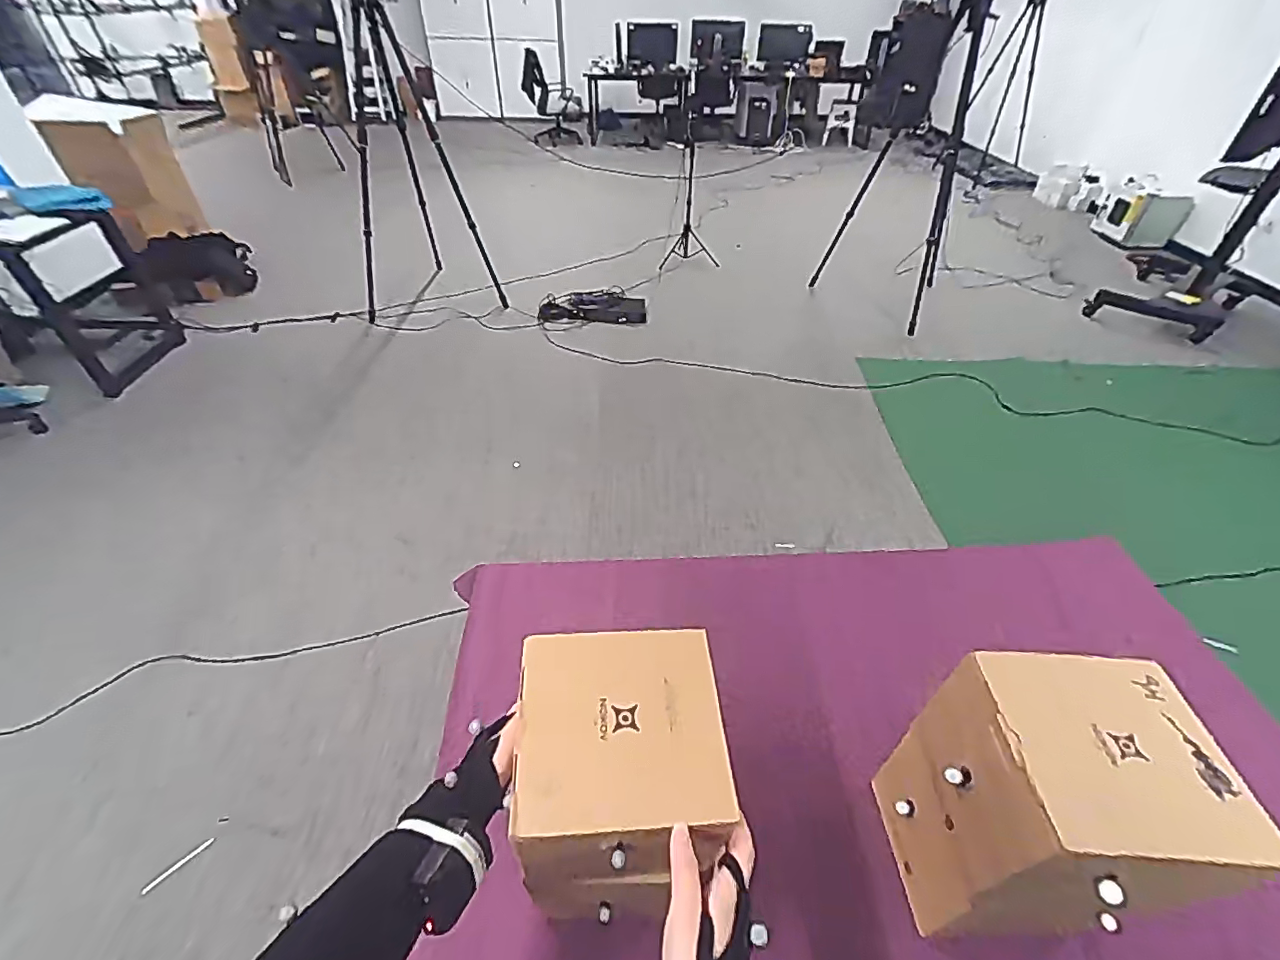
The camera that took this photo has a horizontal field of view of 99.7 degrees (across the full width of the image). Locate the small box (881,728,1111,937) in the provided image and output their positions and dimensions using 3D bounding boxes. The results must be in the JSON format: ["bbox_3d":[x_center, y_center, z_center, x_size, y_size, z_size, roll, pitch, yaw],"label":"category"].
[{"bbox_3d":[0.396,0.398,0.613,0.179,0.176,0.168,0,42,-2],"label":"small box"}]

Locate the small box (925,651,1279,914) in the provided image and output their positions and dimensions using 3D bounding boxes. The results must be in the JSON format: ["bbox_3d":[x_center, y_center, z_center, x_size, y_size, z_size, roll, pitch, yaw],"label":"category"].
[{"bbox_3d":[0.391,0.279,0.500,0.179,0.176,0.168,3,42,2],"label":"small box"}]

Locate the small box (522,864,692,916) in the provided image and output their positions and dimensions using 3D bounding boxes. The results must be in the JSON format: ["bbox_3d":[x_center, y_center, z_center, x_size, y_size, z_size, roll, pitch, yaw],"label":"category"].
[{"bbox_3d":[-0.030,0.381,0.624,0.168,0.176,0.179,1,42,-1],"label":"small box"}]

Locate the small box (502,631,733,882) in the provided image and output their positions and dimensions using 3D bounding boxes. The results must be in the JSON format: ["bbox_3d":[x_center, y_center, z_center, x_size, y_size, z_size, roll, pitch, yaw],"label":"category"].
[{"bbox_3d":[-0.022,0.261,0.511,0.179,0.176,0.168,-1,44,-5],"label":"small box"}]
